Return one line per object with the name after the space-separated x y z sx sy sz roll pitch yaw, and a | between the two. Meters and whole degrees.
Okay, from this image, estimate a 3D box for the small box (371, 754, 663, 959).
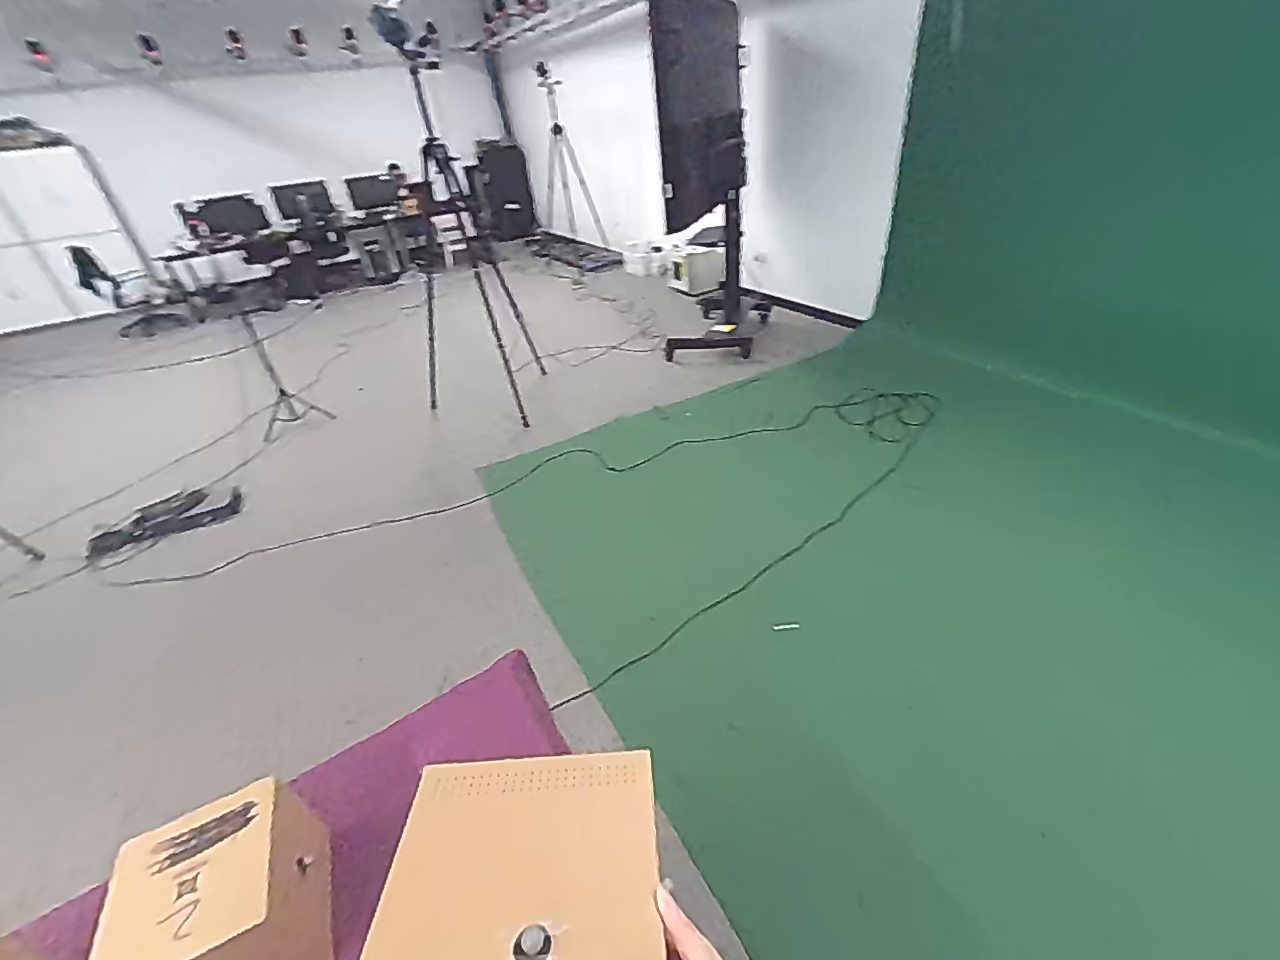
-0.074 0.319 0.382 0.179 0.168 0.176 -3 25 0 | small box
